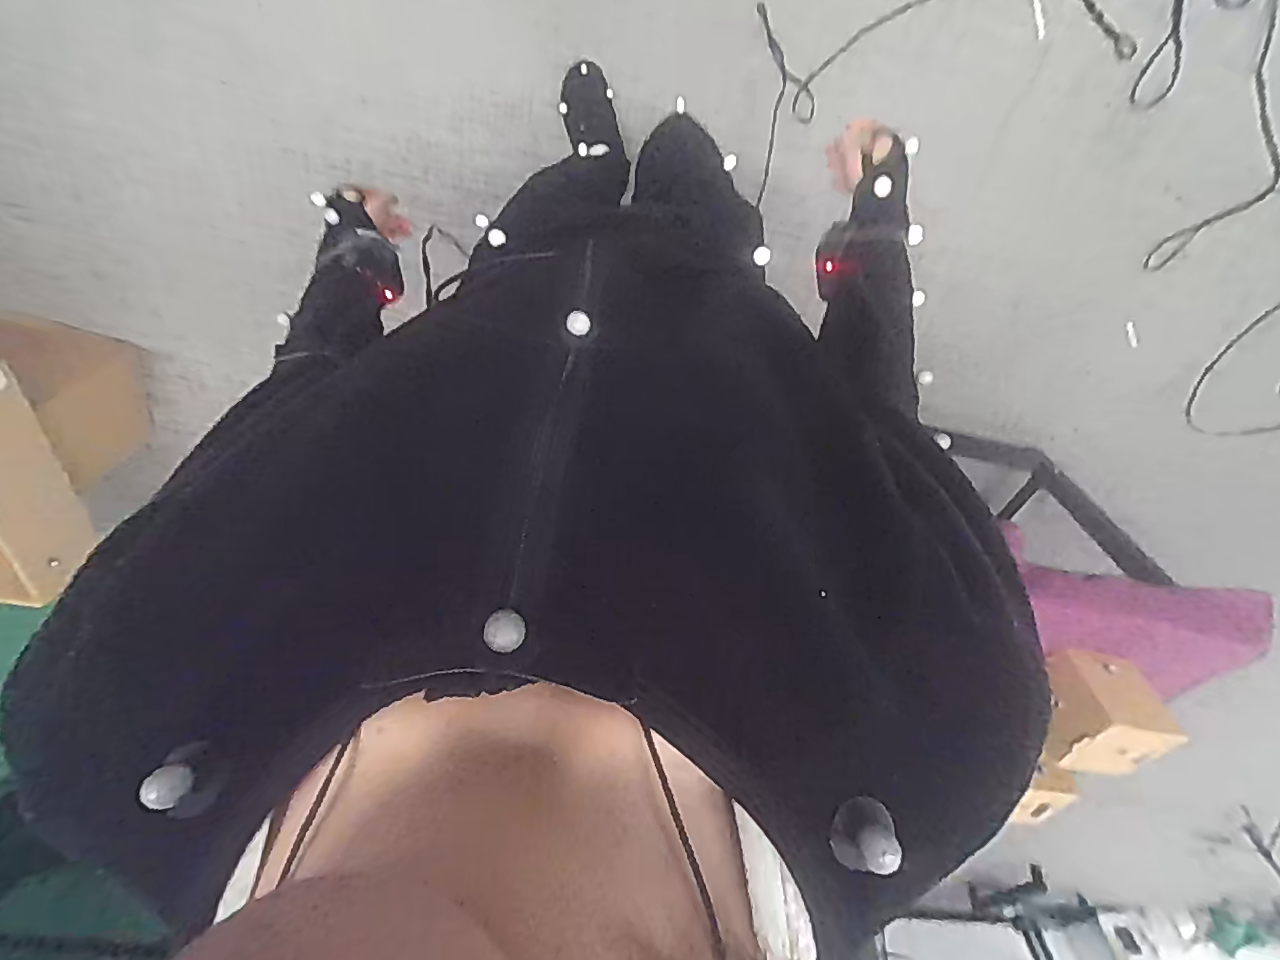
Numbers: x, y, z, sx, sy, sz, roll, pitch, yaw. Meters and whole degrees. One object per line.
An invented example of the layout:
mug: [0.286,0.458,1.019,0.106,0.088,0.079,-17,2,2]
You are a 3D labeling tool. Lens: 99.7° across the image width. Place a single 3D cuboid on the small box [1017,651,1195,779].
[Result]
small box: [0.924,0.471,1.095,0.179,0.176,0.168,13,127,-9]
